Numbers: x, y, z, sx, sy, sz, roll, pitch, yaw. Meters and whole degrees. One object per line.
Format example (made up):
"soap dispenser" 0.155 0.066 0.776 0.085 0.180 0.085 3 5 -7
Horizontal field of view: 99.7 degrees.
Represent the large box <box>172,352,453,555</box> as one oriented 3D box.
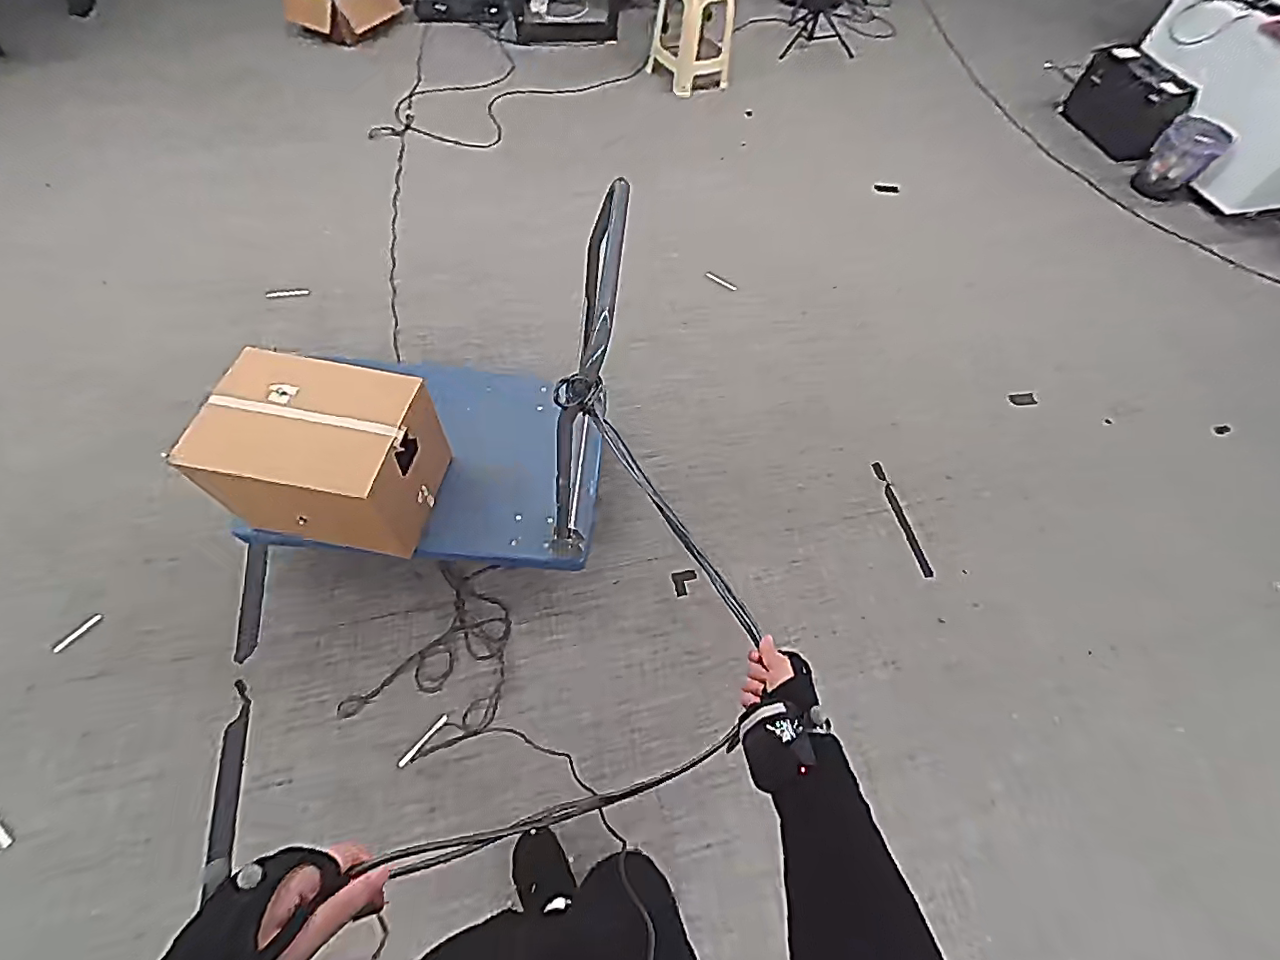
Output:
"large box" -0.701 -0.049 1.249 0.408 0.320 0.320 10 59 1
